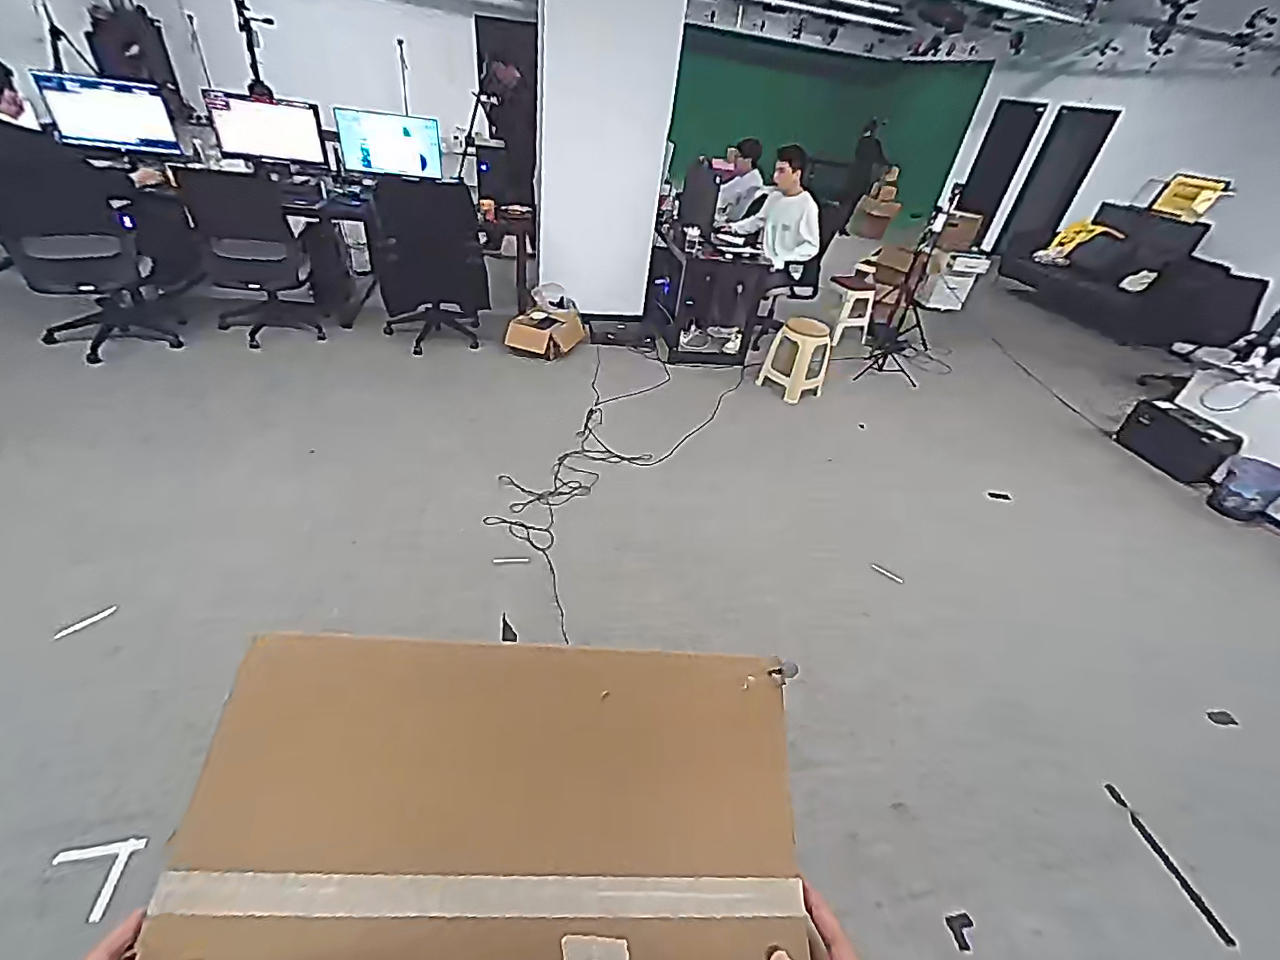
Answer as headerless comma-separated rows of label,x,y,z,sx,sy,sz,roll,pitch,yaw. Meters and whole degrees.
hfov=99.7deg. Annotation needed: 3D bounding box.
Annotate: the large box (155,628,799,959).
large box,-0.108,0.332,0.489,0.408,0.320,0.320,5,62,-5
